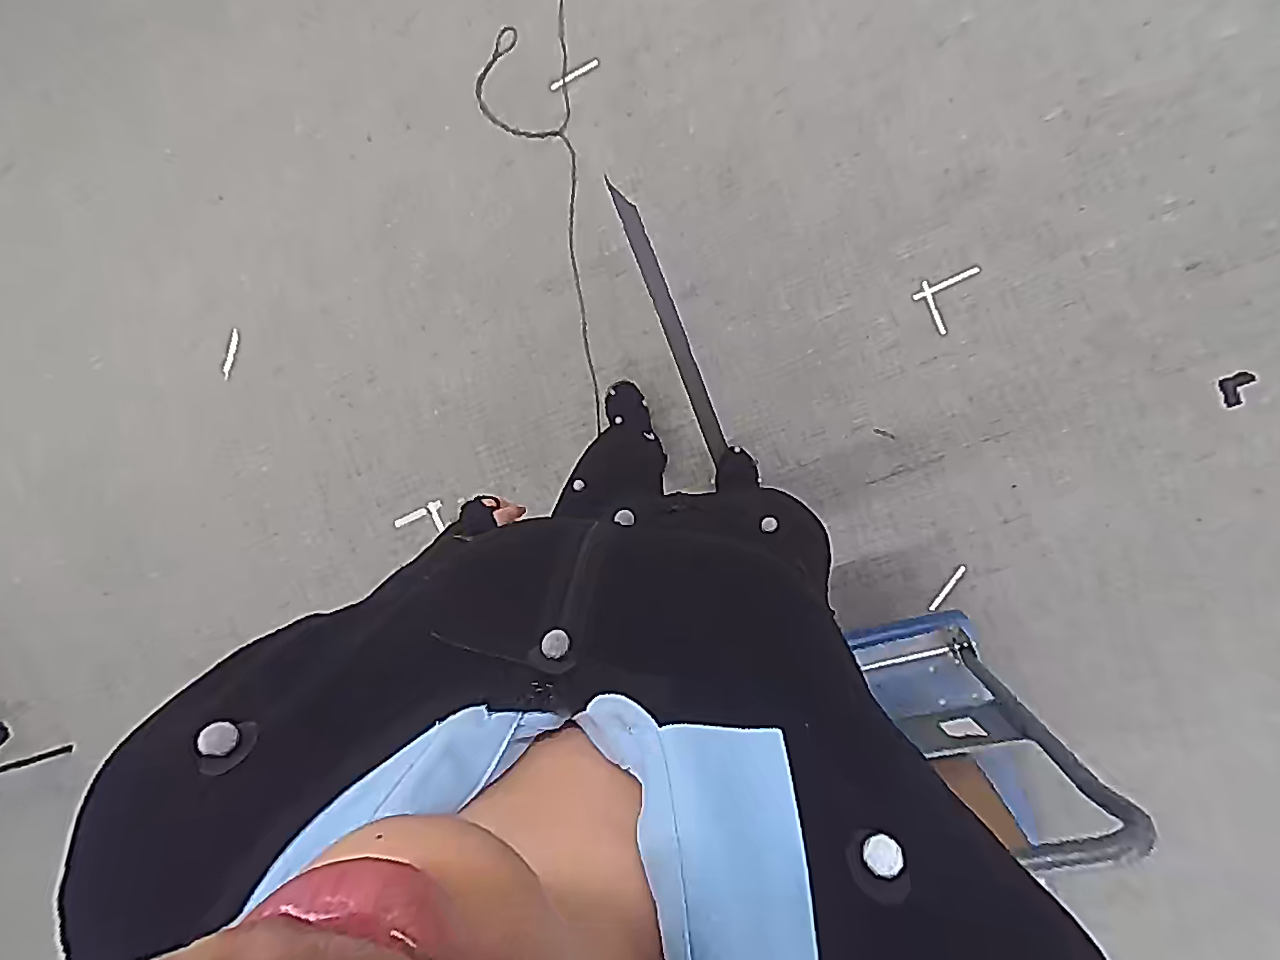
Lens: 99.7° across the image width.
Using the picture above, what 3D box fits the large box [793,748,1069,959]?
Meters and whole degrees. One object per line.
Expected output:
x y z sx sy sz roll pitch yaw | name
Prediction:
0.574 0.820 1.132 0.408 0.320 0.320 -17 93 12 | large box
